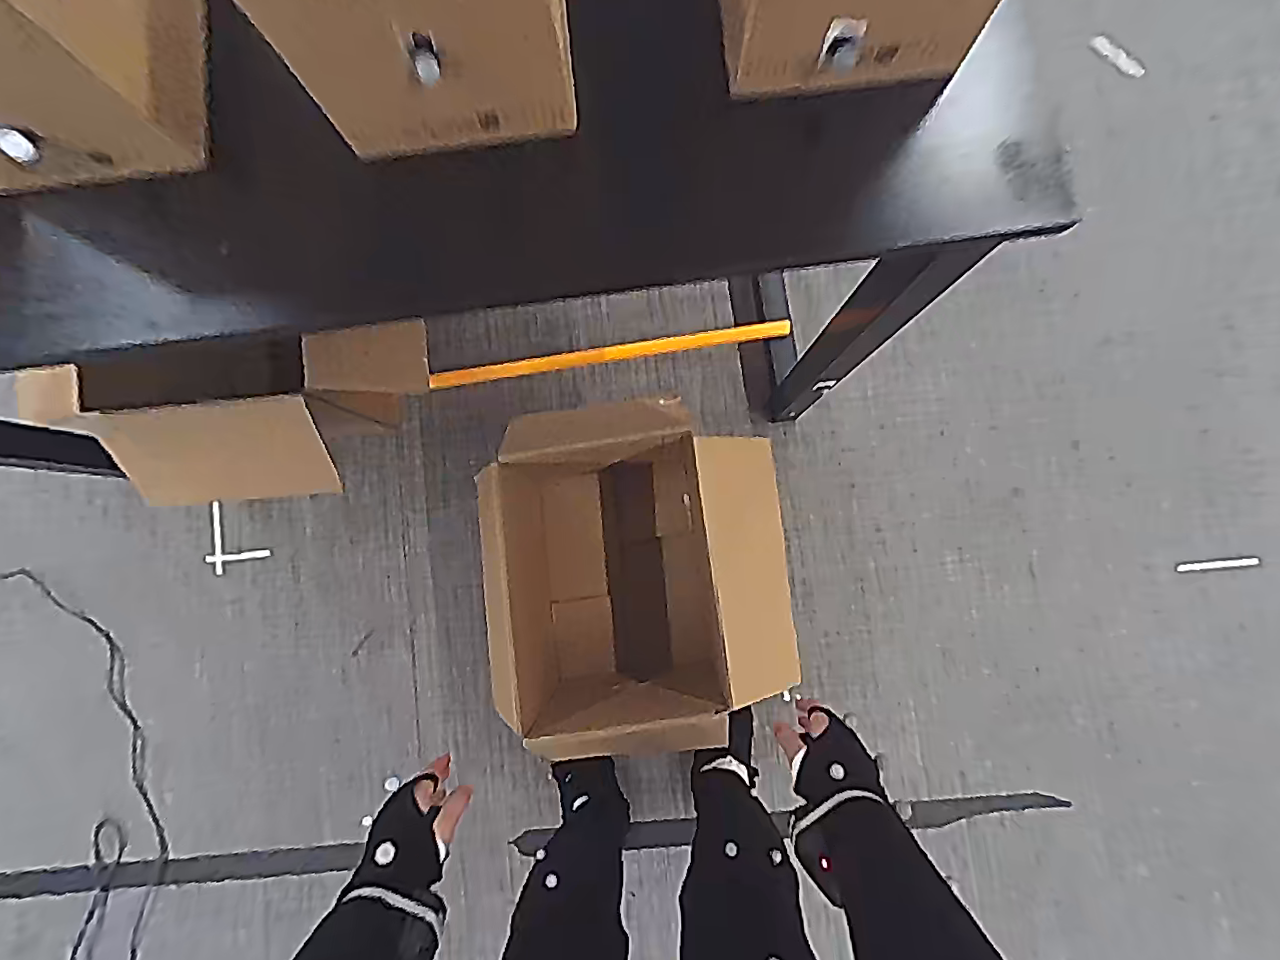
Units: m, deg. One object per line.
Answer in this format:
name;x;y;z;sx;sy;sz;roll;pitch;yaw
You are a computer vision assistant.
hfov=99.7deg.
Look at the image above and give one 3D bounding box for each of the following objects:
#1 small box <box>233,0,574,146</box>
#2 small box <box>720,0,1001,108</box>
small box;-0.139;-0.337;0.331;0.168;0.176;0.179;-7;84;1
small box;0.136;-0.375;0.327;0.168;0.176;0.179;-6;84;3
